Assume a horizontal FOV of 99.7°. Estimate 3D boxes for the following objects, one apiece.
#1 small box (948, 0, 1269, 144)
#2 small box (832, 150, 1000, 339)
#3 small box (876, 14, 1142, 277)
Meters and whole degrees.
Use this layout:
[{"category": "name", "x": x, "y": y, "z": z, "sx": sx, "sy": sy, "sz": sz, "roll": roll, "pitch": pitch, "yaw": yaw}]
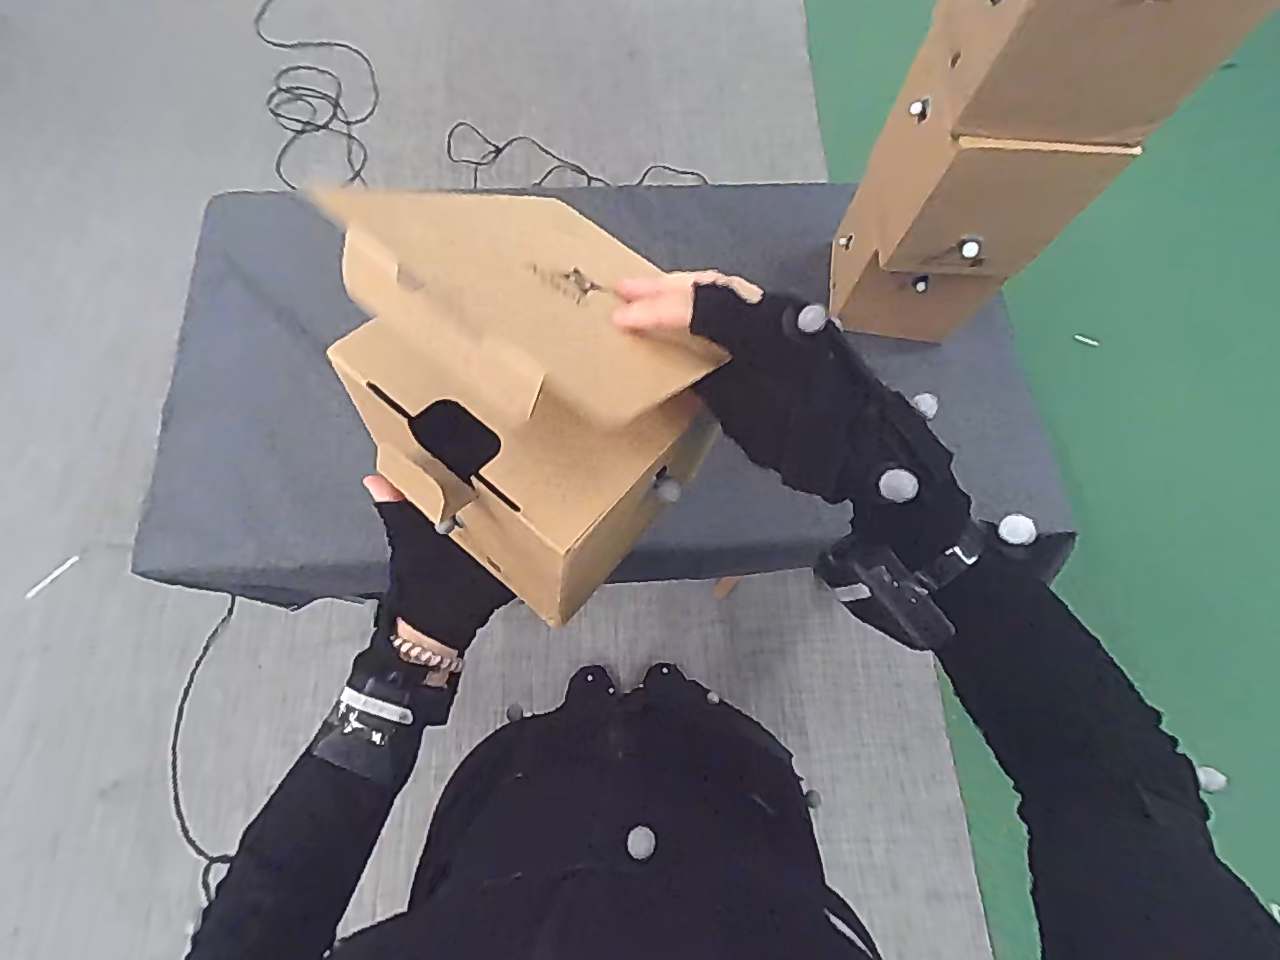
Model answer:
[{"category": "small box", "x": 0.371, "y": -0.404, "z": 0.432, "sx": 0.179, "sy": 0.176, "sz": 0.168, "roll": 6, "pitch": 73, "yaw": 1}, {"category": "small box", "x": 0.379, "y": -0.316, "z": 0.747, "sx": 0.179, "sy": 0.176, "sz": 0.168, "roll": 9, "pitch": 72, "yaw": 2}, {"category": "small box", "x": 0.373, "y": -0.351, "z": 0.586, "sx": 0.168, "sy": 0.176, "sz": 0.179, "roll": 3, "pitch": 72, "yaw": 1}]
